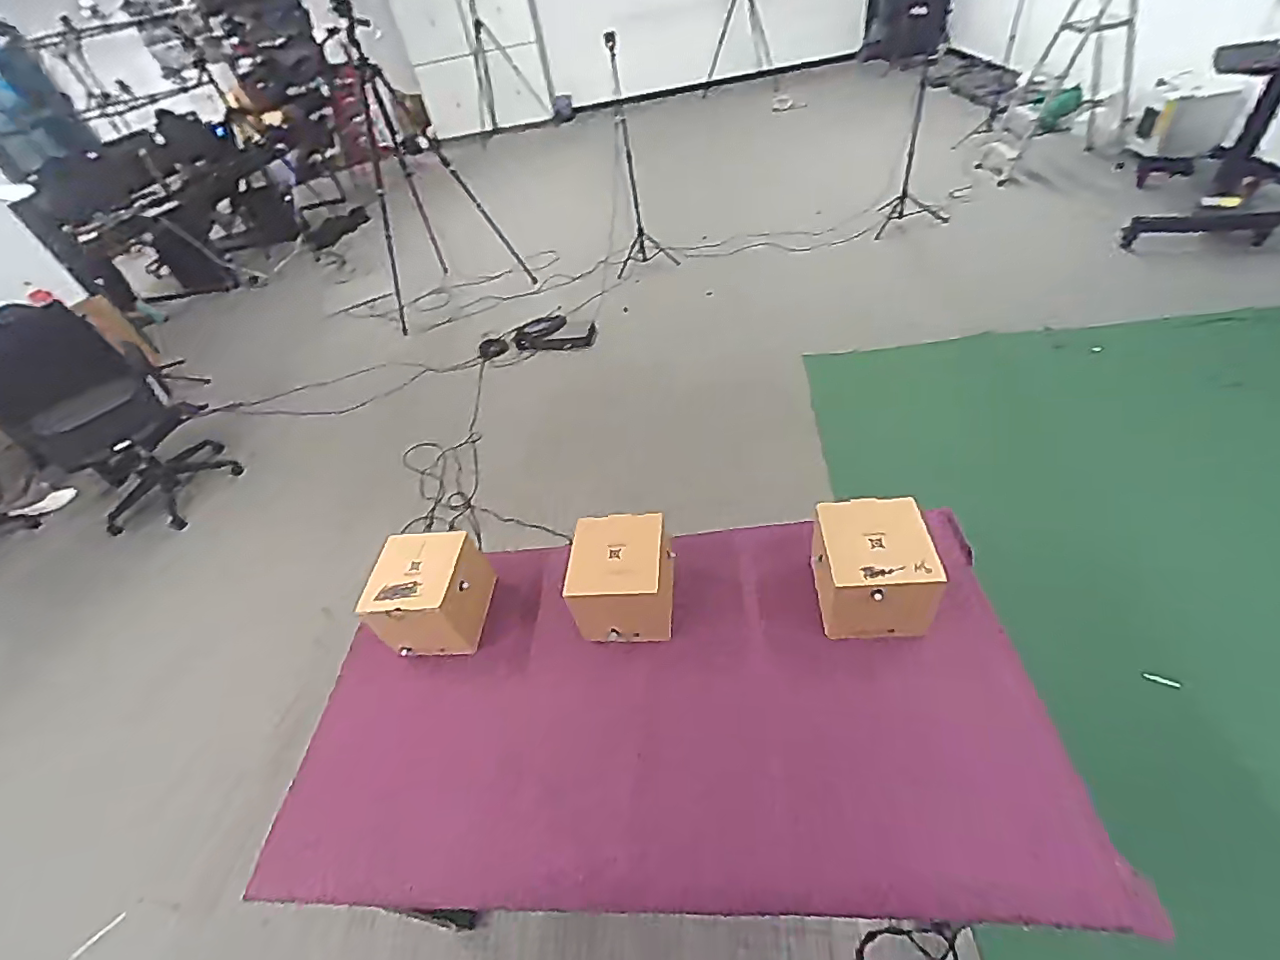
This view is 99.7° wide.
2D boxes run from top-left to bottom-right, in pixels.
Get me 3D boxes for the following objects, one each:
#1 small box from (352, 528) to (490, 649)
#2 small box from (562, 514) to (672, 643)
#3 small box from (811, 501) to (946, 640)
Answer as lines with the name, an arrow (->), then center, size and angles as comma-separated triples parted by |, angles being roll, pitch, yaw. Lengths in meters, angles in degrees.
small box -> -0.407, 0.215, 1.044 | 0.168, 0.176, 0.179 | -3, 46, 7
small box -> -0.033, 0.182, 1.006 | 0.168, 0.176, 0.179 | -3, 47, 10
small box -> 0.398, 0.159, 0.940 | 0.168, 0.176, 0.179 | -4, 45, 9
